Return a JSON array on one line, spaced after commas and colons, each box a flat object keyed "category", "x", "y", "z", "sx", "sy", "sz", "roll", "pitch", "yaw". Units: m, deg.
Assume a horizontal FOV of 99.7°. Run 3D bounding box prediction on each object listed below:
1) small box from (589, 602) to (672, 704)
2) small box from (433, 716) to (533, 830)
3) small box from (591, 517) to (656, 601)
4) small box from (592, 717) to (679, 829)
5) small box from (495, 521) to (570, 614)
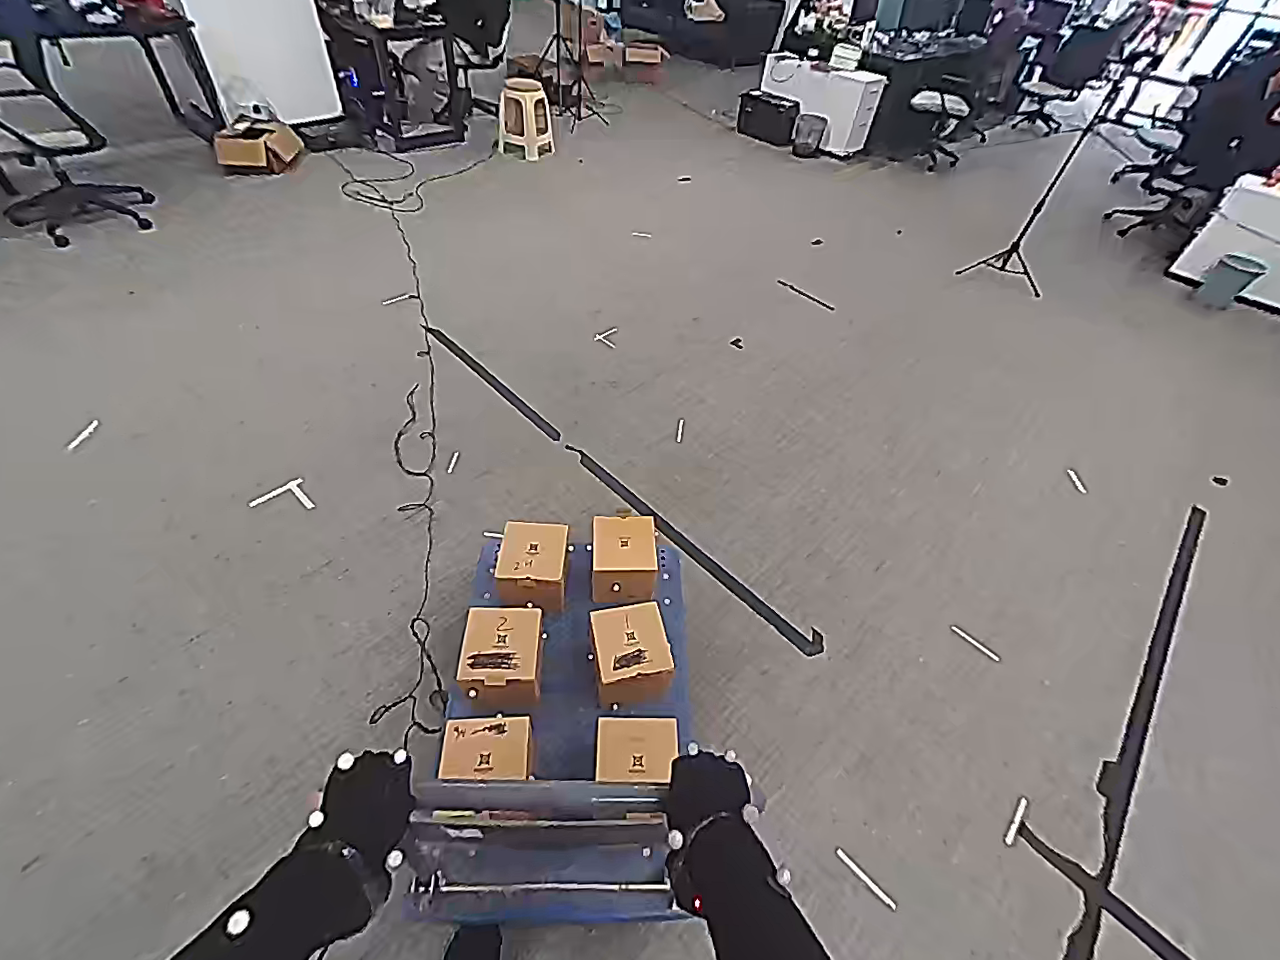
[{"category": "small box", "x": -0.029, "y": 0.422, "z": 1.299, "sx": 0.168, "sy": 0.176, "sz": 0.179, "roll": -6, "pitch": 48, "yaw": -12}, {"category": "small box", "x": -0.309, "y": 0.601, "z": 1.102, "sx": 0.168, "sy": 0.176, "sz": 0.179, "roll": 1, "pitch": 48, "yaw": -7}, {"category": "small box", "x": -0.048, "y": 0.220, "z": 1.481, "sx": 0.168, "sy": 0.176, "sz": 0.179, "roll": 1, "pitch": 48, "yaw": -6}, {"category": "small box", "x": -0.013, "y": 0.614, "z": 1.128, "sx": 0.168, "sy": 0.176, "sz": 0.179, "roll": 4, "pitch": 47, "yaw": -4}, {"category": "small box", "x": -0.279, "y": 0.234, "z": 1.439, "sx": 0.168, "sy": 0.176, "sz": 0.179, "roll": 4, "pitch": 48, "yaw": -3}]
